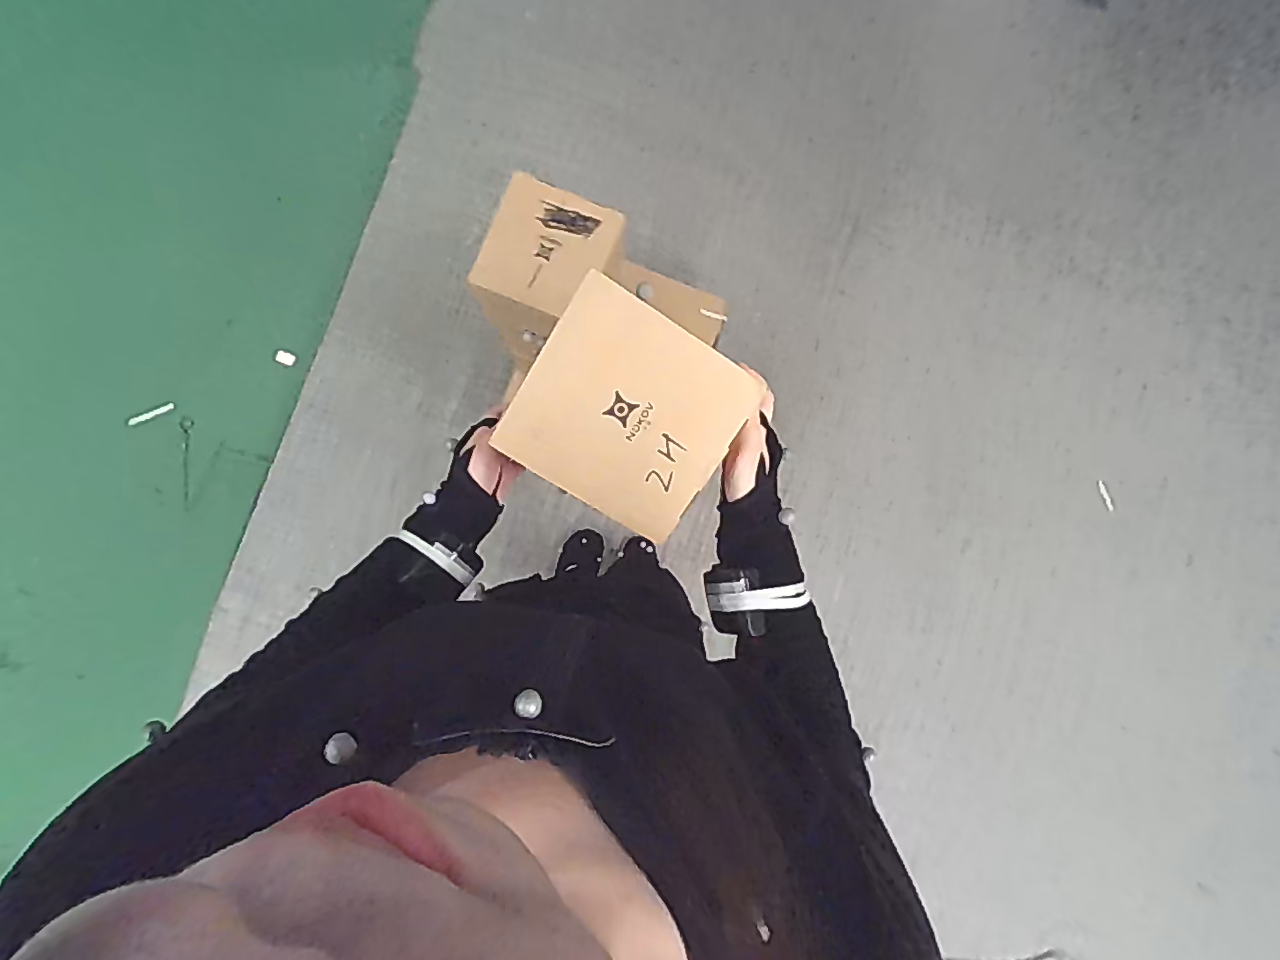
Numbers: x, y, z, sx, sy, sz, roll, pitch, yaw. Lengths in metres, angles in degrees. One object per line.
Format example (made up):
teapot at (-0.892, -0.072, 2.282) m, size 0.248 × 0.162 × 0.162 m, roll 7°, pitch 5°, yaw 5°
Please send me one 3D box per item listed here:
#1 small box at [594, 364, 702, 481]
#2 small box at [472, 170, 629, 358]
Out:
small box at (0.009, -0.112, 1.138) m, size 0.168 × 0.176 × 0.179 m, roll 24°, pitch 83°, yaw -2°
small box at (-0.128, -0.313, 0.819) m, size 0.168 × 0.176 × 0.179 m, roll 23°, pitch 85°, yaw -2°
